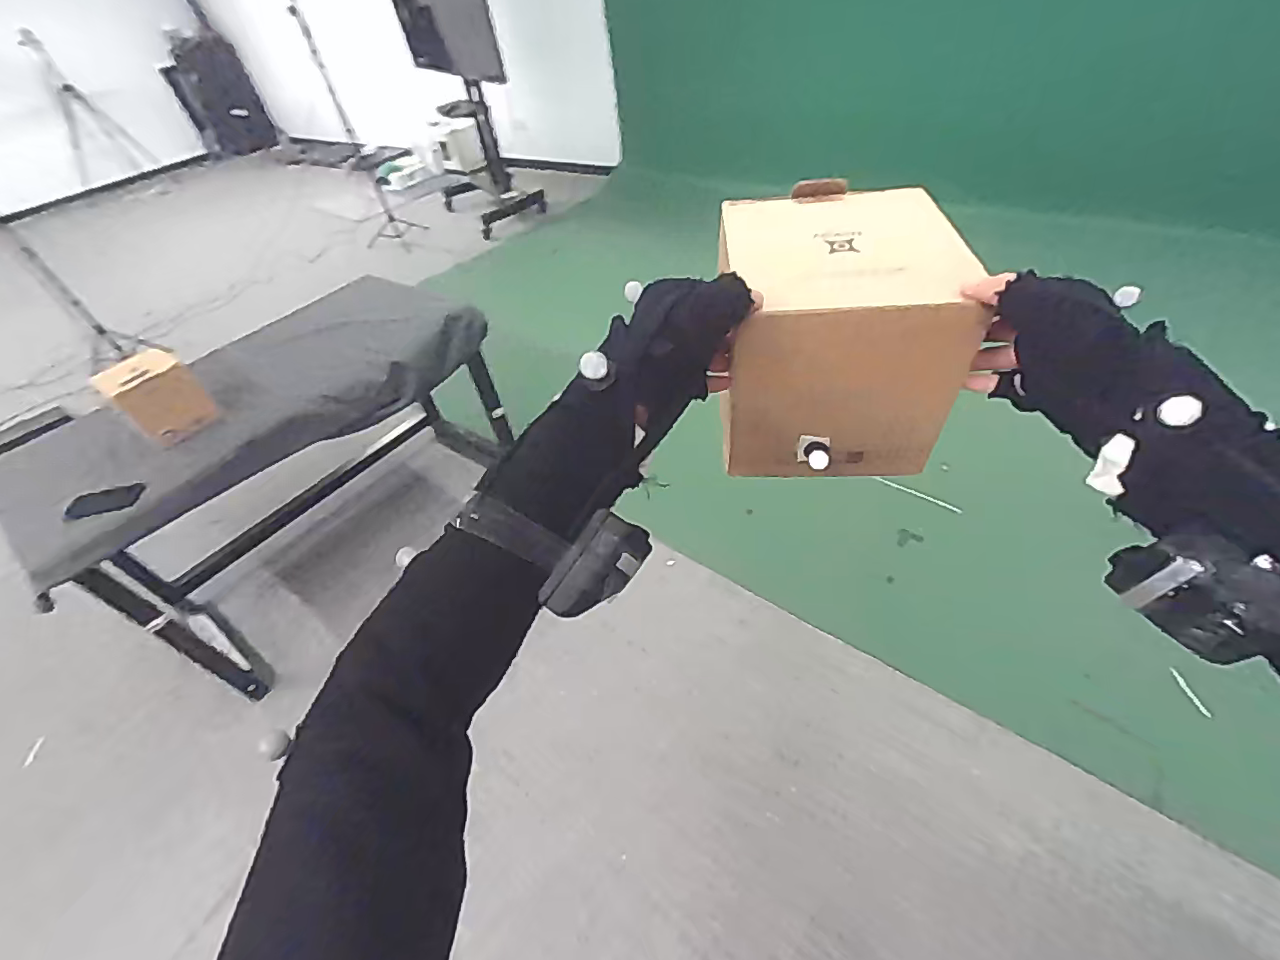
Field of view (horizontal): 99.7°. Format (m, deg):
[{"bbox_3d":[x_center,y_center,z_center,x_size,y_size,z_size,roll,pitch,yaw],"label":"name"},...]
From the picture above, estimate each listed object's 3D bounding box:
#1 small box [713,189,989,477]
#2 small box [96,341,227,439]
[{"bbox_3d":[0.151,-0.122,0.464,0.168,0.176,0.179,-3,50,5],"label":"small box"},{"bbox_3d":[-1.226,-0.229,1.396,0.179,0.176,0.168,22,53,30],"label":"small box"}]
